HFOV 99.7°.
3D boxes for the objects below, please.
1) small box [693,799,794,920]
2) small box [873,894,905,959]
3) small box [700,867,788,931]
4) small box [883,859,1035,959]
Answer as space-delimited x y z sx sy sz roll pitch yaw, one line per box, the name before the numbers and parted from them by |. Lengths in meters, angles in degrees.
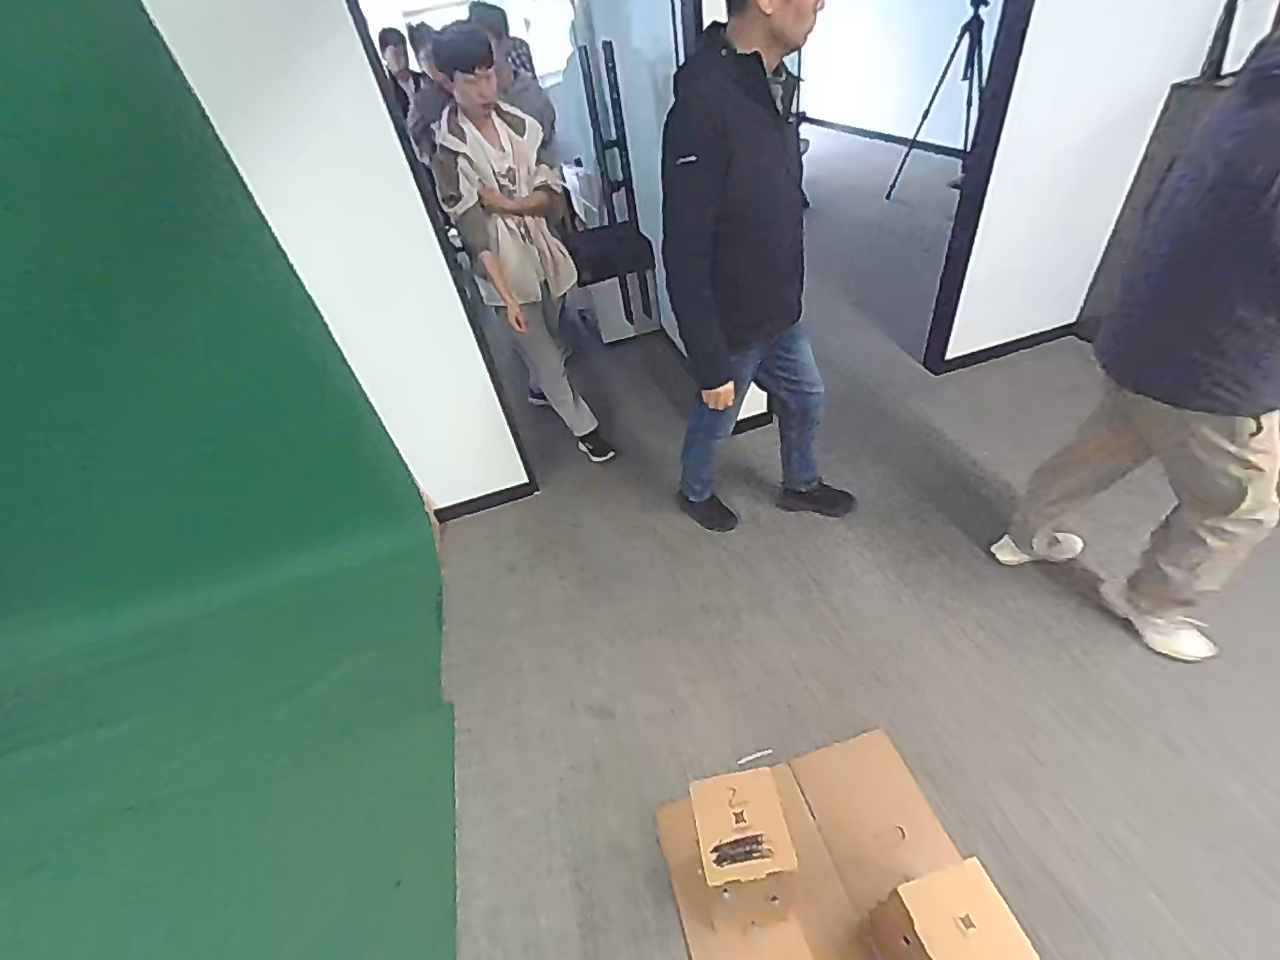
small box | 0.217 0.819 1.165 0.179 0.176 0.168 -11 41 0
small box | 0.618 0.982 1.151 0.179 0.176 0.168 -16 42 -5
small box | 0.236 0.938 1.278 0.179 0.176 0.168 -10 41 0
small box | 0.597 0.867 1.039 0.179 0.176 0.168 -17 42 -5
